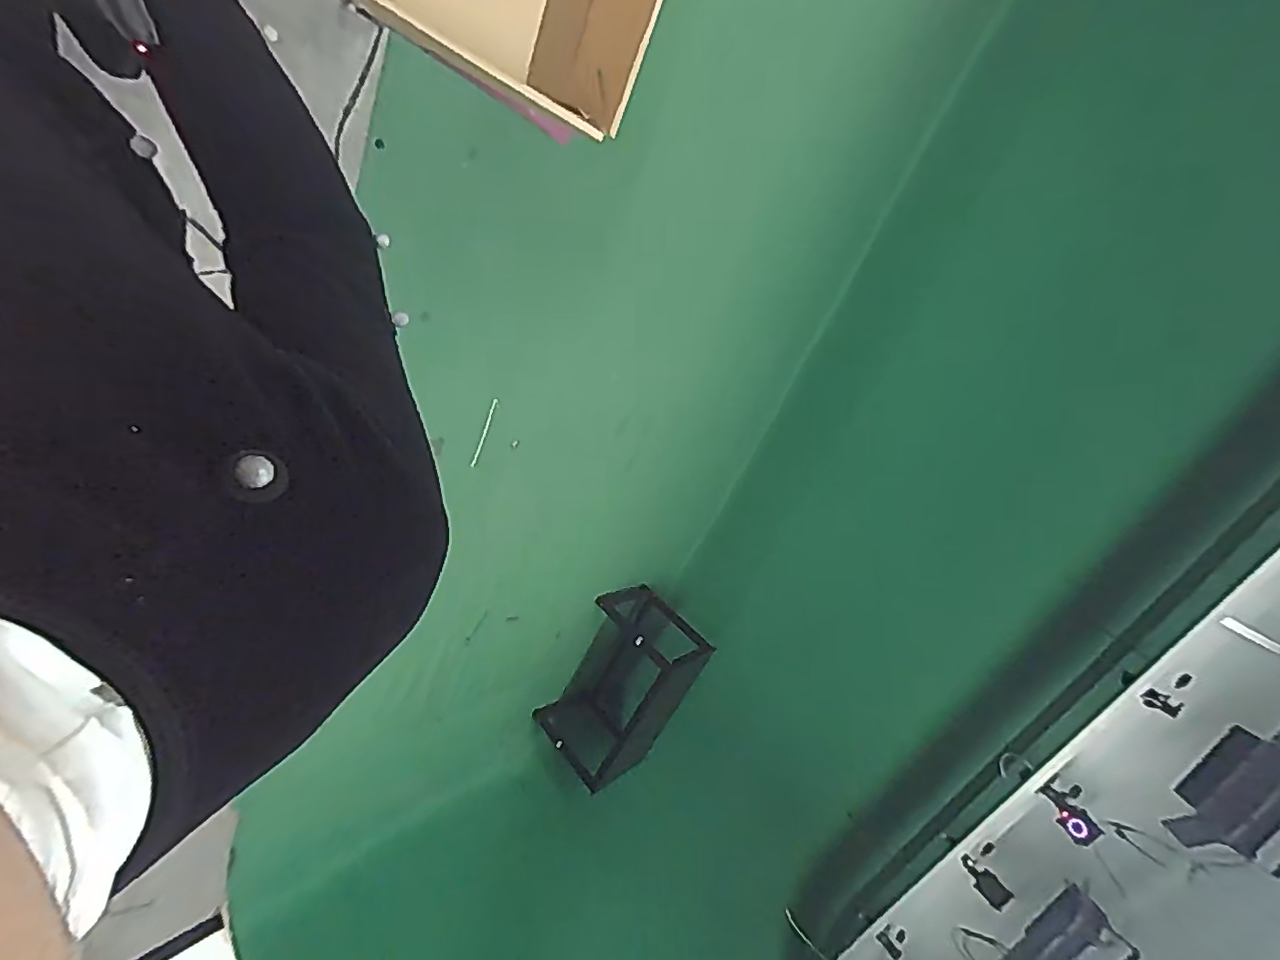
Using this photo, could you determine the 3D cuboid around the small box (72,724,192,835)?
[{"bbox_3d":[-1.373,0.805,1.461,0.179,0.176,0.168,-35,146,-27],"label":"small box"}]
